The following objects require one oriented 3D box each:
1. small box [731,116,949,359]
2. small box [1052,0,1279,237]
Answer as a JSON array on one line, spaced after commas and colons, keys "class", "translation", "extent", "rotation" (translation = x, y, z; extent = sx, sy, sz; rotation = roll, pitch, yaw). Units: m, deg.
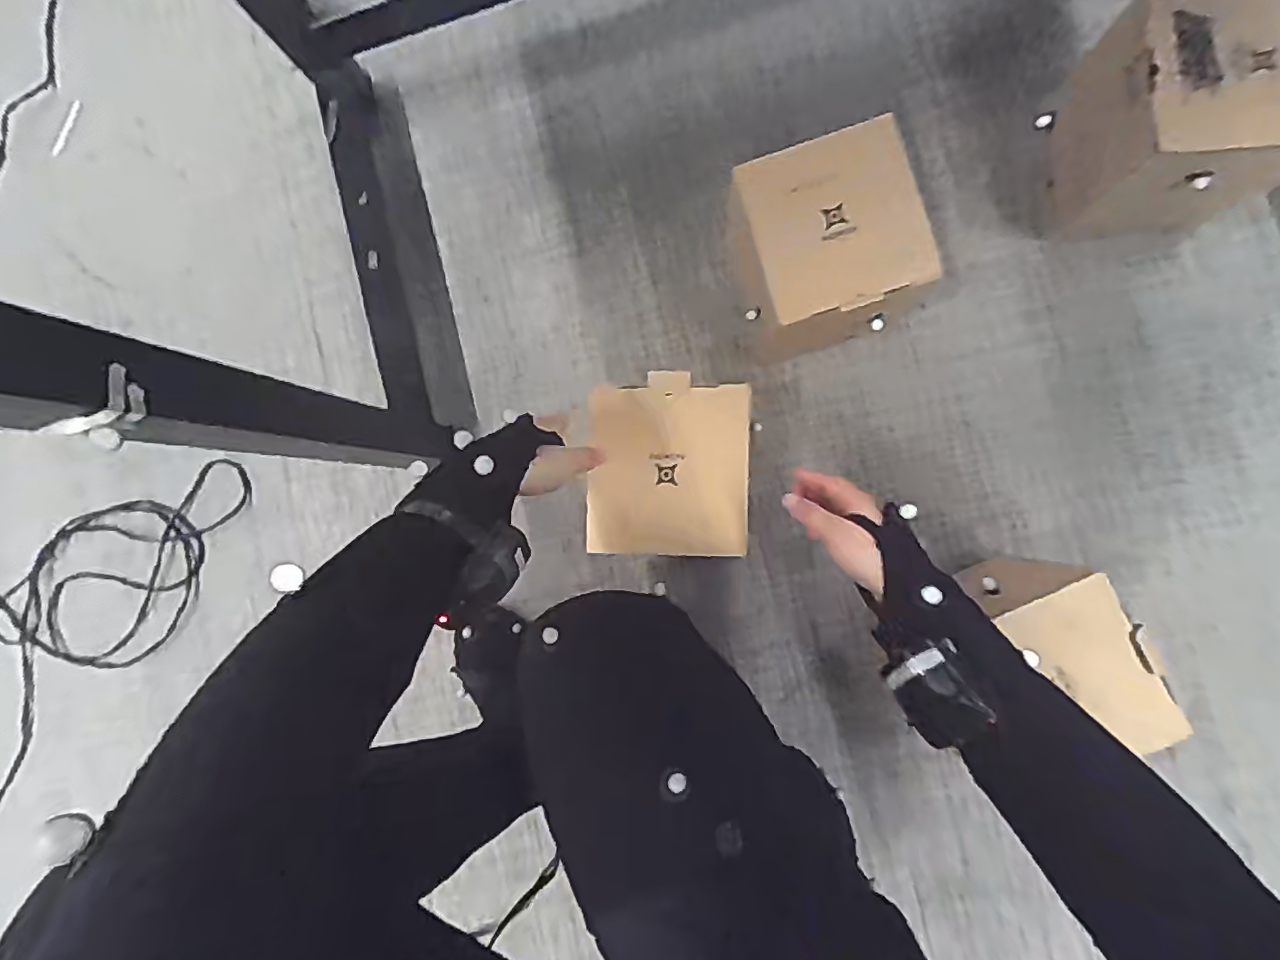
[{"class": "small box", "translation": [0.206, -0.250, 0.610], "extent": [0.168, 0.176, 0.179], "rotation": [-16, 85, 5]}, {"class": "small box", "translation": [0.572, -0.374, 0.569], "extent": [0.179, 0.176, 0.168], "rotation": [-1, 88, 6]}]
